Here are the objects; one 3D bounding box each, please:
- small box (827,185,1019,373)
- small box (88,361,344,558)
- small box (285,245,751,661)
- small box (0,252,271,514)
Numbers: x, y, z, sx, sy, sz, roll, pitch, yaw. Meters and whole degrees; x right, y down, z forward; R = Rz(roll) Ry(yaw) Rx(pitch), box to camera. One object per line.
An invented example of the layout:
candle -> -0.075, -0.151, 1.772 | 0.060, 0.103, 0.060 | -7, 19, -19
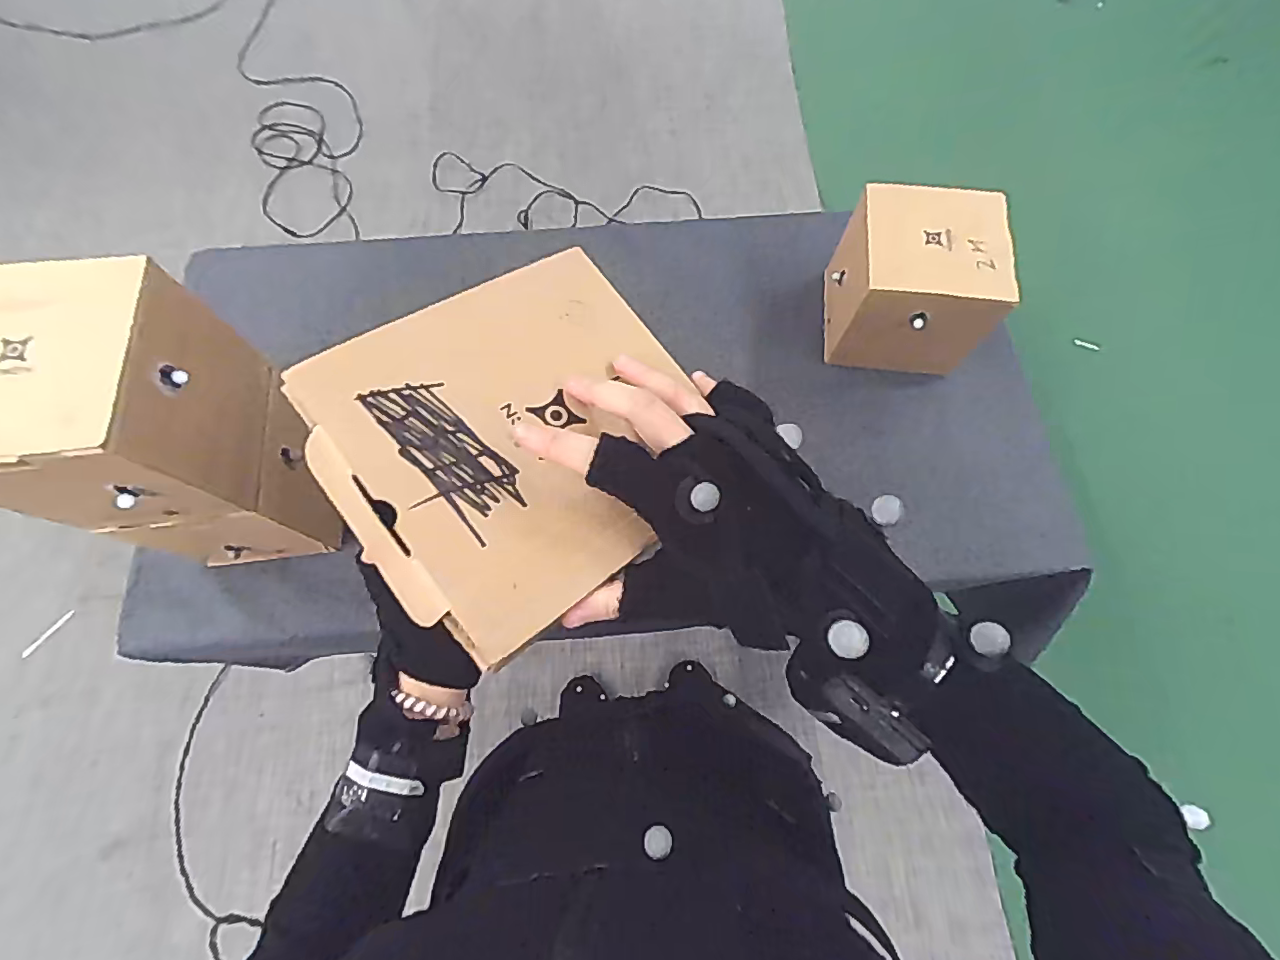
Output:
small box -> 0.362, -0.260, 0.728 | 0.179, 0.176, 0.168 | 7, 71, 2
small box -> -0.470, -0.017, 0.637 | 0.168, 0.176, 0.179 | -6, 71, -3
small box -> -0.070, -0.003, 0.343 | 0.179, 0.176, 0.168 | -35, 83, -24
small box -> -0.468, -0.072, 0.483 | 0.168, 0.176, 0.179 | -4, 71, -3
